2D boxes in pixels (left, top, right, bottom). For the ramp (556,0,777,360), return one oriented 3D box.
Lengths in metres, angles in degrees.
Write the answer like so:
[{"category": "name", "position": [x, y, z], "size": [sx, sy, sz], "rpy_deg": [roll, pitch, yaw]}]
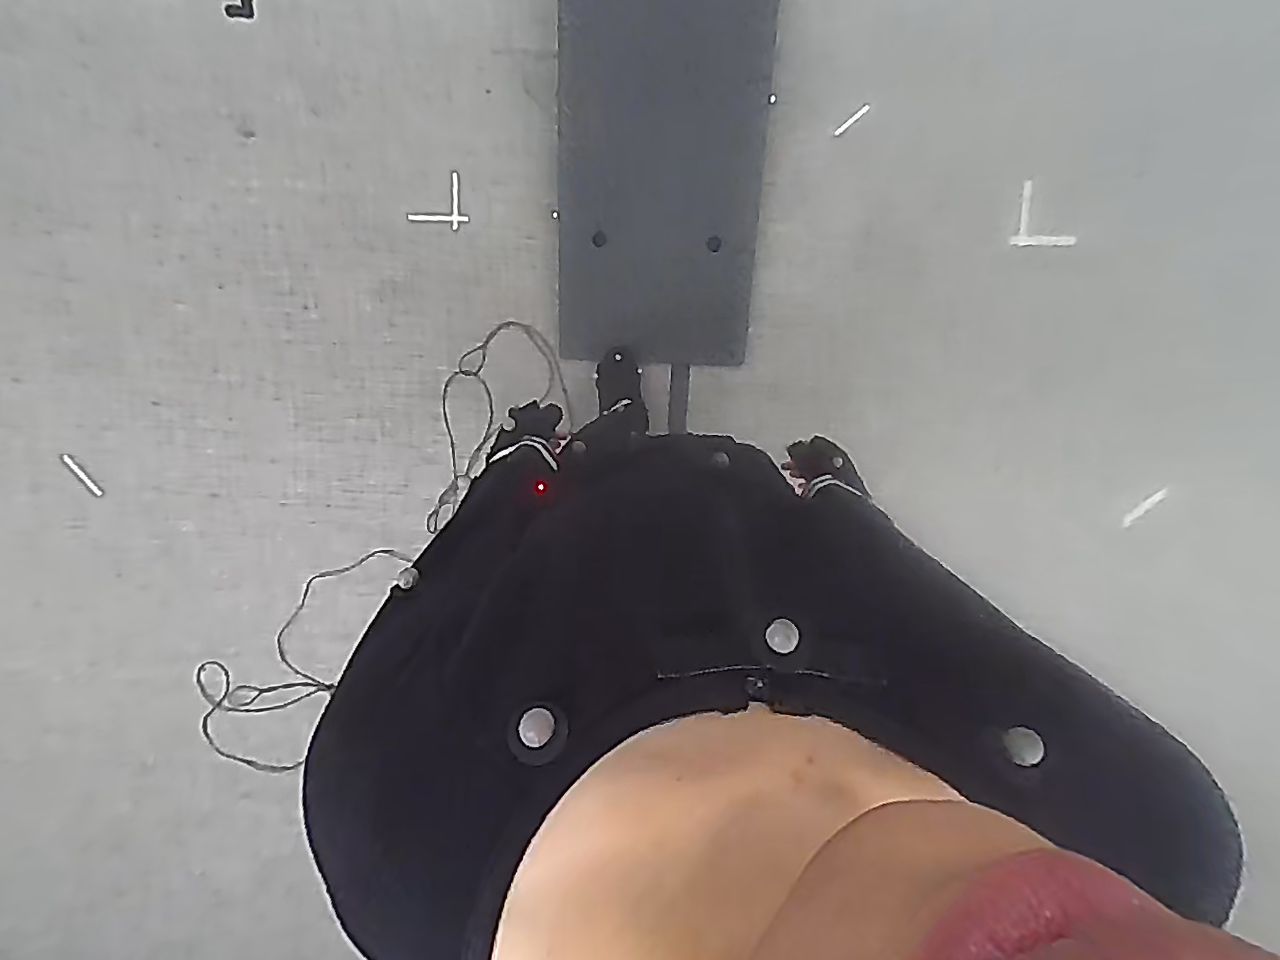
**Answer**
[{"category": "ramp", "position": [0.049, -0.796, 1.276], "size": [0.509, 0.206, 0.991], "rpy_deg": [0, 98, -2]}]
